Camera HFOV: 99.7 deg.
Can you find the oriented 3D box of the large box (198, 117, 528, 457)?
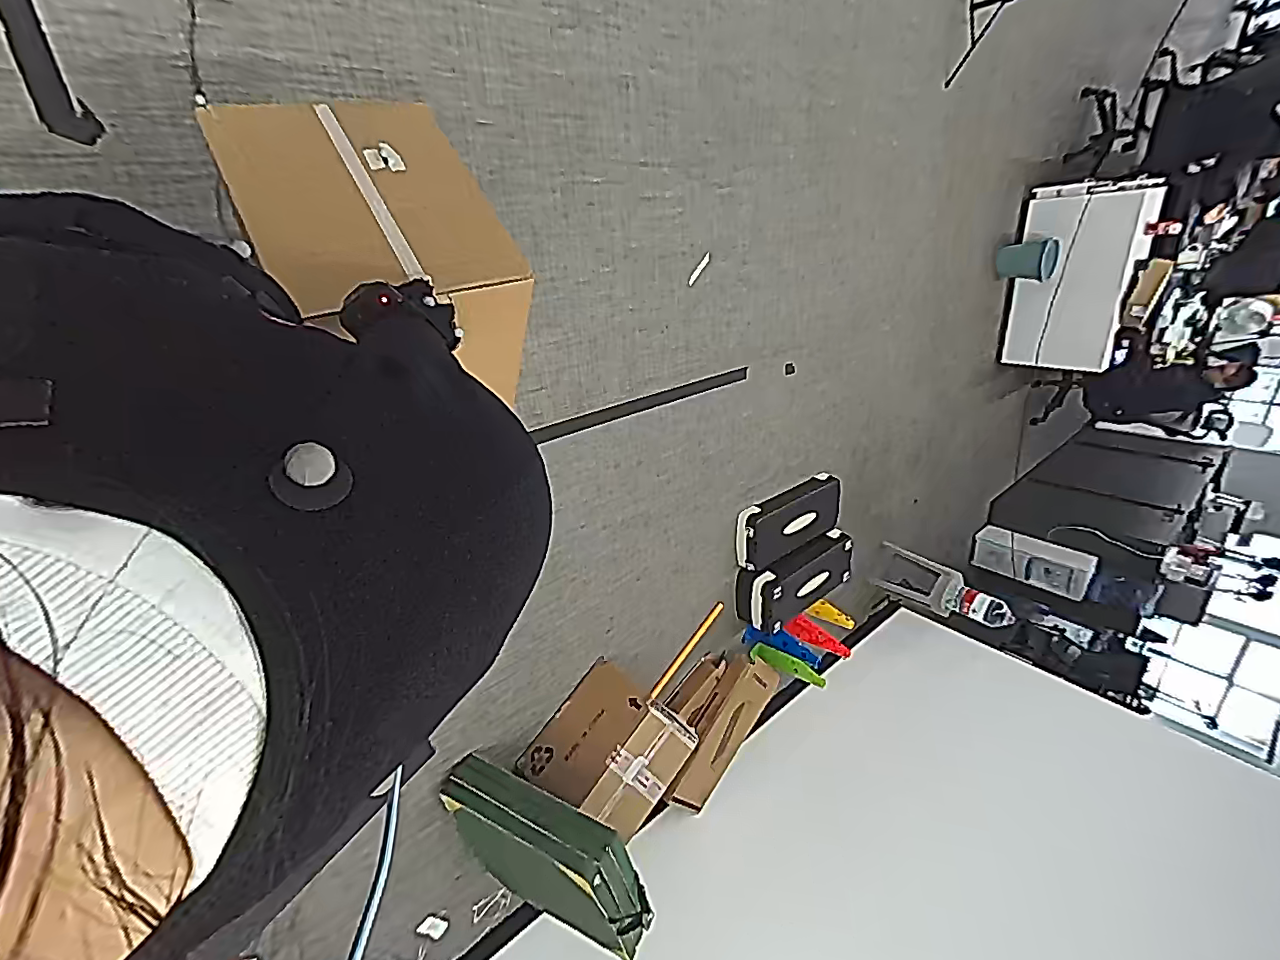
[{"bbox_3d":[-0.426,-0.314,0.885,0.320,0.408,0.320,-23,160,-30],"label":"large box"}]
